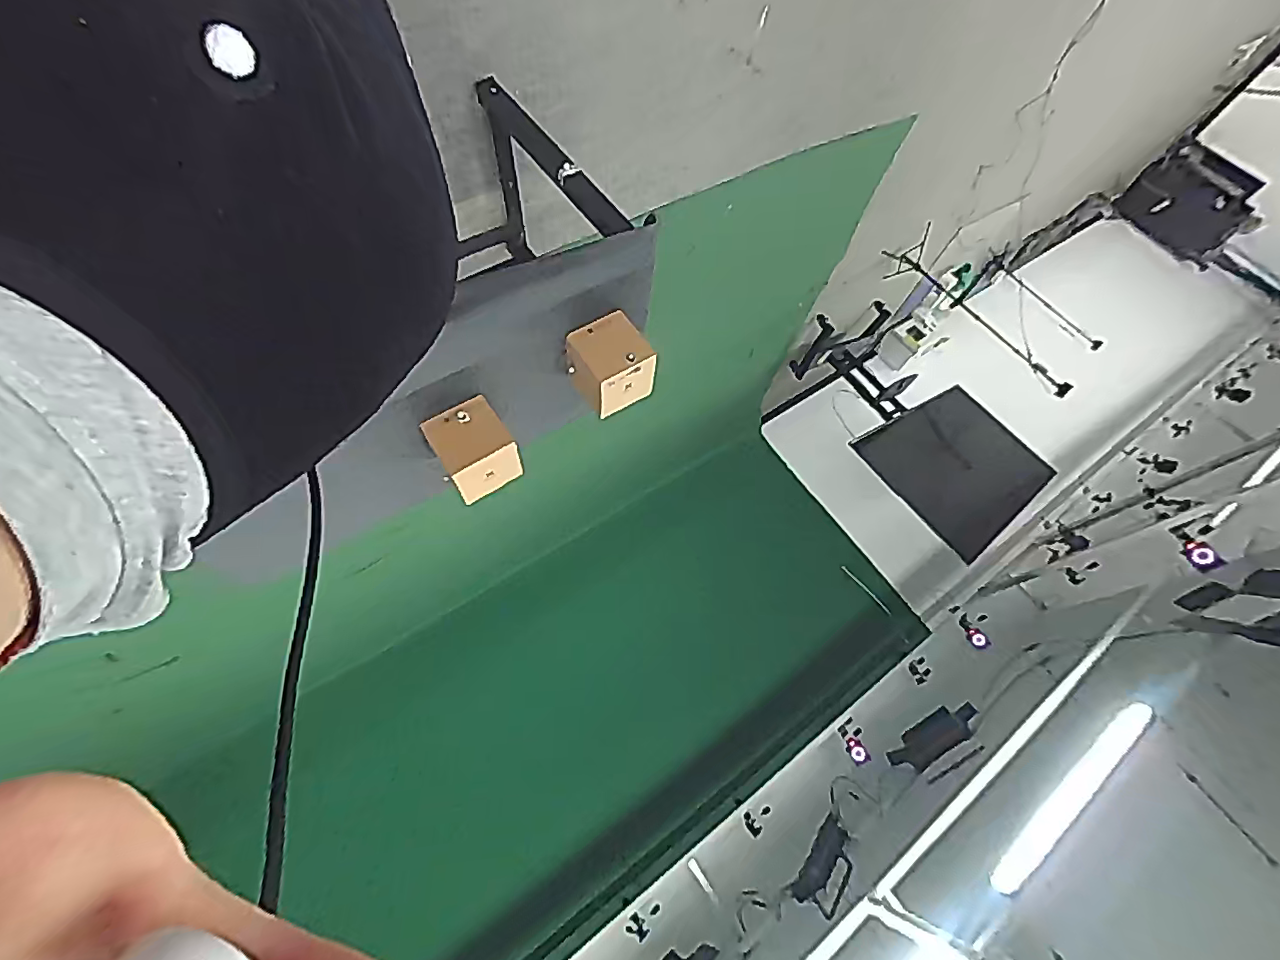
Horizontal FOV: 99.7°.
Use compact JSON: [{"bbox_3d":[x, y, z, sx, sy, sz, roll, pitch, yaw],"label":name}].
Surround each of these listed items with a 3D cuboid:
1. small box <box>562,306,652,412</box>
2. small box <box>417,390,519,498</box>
[{"bbox_3d":[-0.090,-0.316,1.411,0.168,0.176,0.179,-32,163,-17],"label":"small box"},{"bbox_3d":[-0.424,-0.091,1.349,0.168,0.176,0.179,-33,161,-17],"label":"small box"}]
